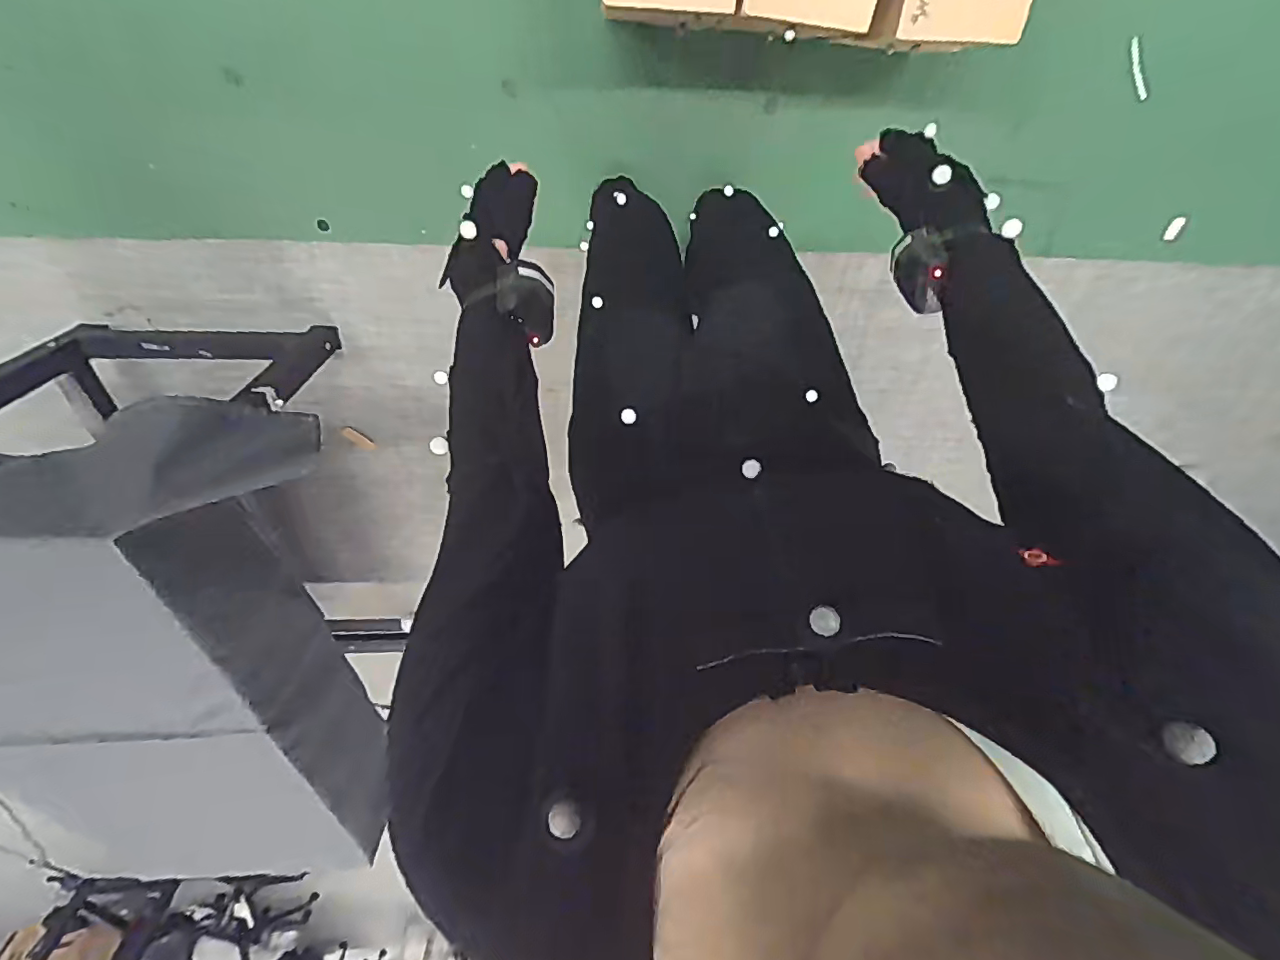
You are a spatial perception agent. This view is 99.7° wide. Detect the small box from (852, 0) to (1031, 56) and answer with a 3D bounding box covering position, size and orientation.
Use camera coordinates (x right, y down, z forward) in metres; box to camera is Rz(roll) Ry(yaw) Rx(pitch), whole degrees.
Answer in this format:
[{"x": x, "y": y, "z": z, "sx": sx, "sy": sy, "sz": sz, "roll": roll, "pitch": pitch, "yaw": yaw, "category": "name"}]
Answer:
[{"x": 0.427, "y": -0.701, "z": 0.754, "sx": 0.179, "sy": 0.176, "sz": 0.168, "roll": 1, "pitch": 127, "yaw": -3, "category": "small box"}]
